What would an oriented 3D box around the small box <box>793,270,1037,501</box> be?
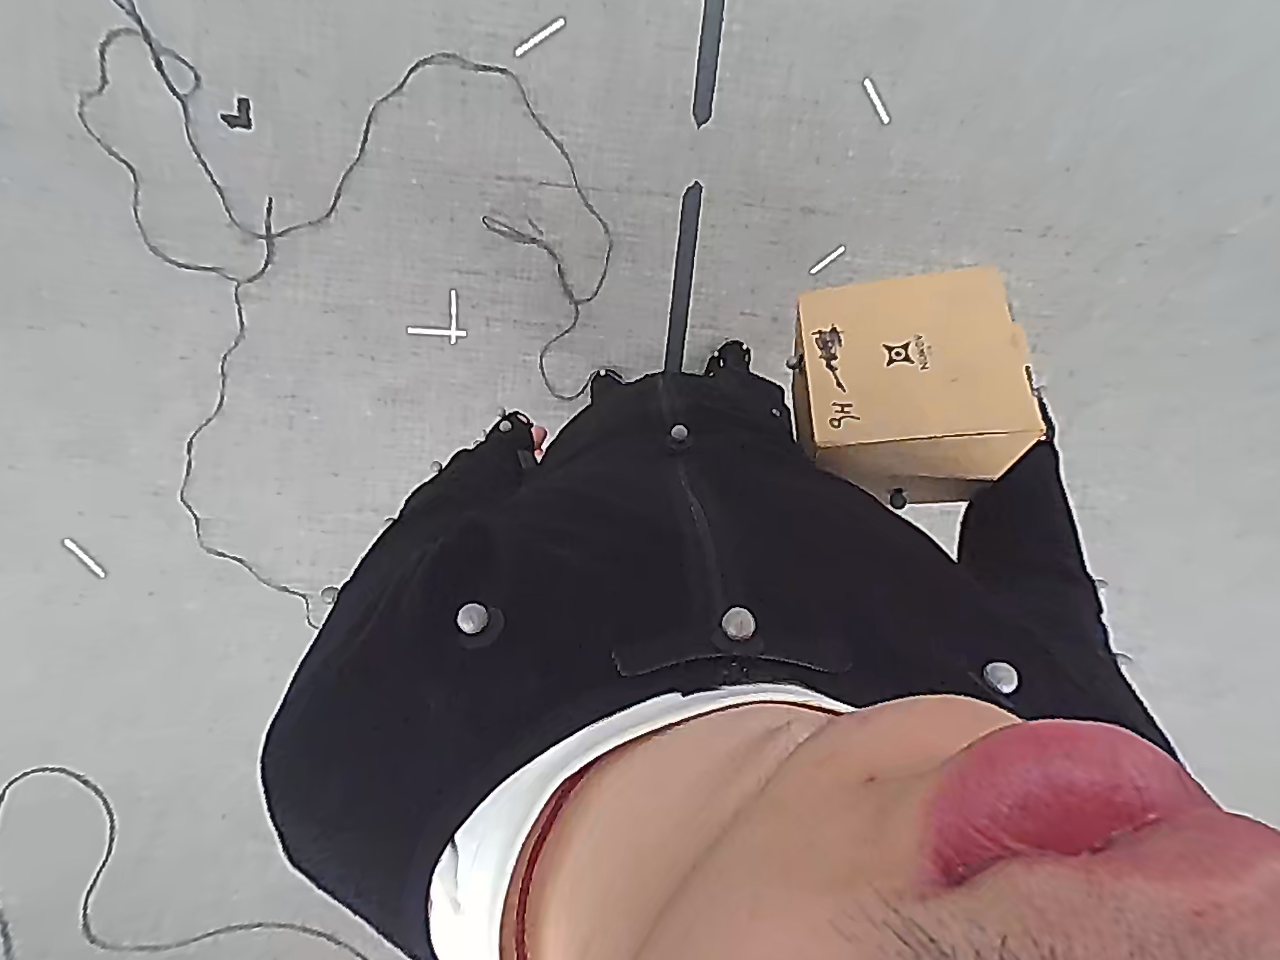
[{"bbox_3d":[0.257,-0.084,0.557,0.179,0.176,0.168,-4,67,12],"label":"small box"}]
